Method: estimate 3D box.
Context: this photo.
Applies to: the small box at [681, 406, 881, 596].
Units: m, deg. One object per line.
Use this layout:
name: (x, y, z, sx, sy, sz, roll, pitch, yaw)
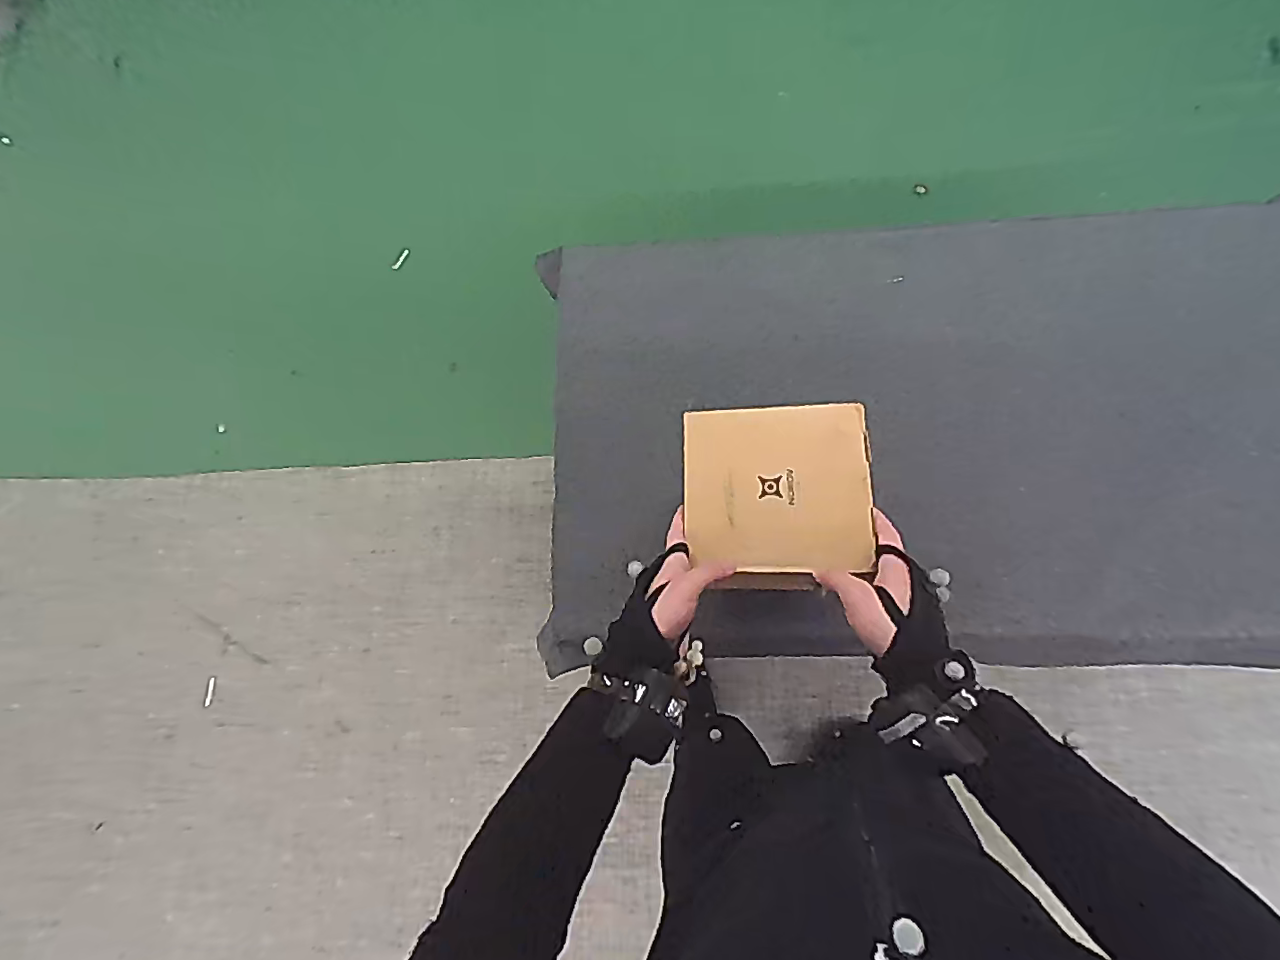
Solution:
small box: (0.143, 0.031, 0.580, 0.179, 0.176, 0.168, 0, 72, 12)
